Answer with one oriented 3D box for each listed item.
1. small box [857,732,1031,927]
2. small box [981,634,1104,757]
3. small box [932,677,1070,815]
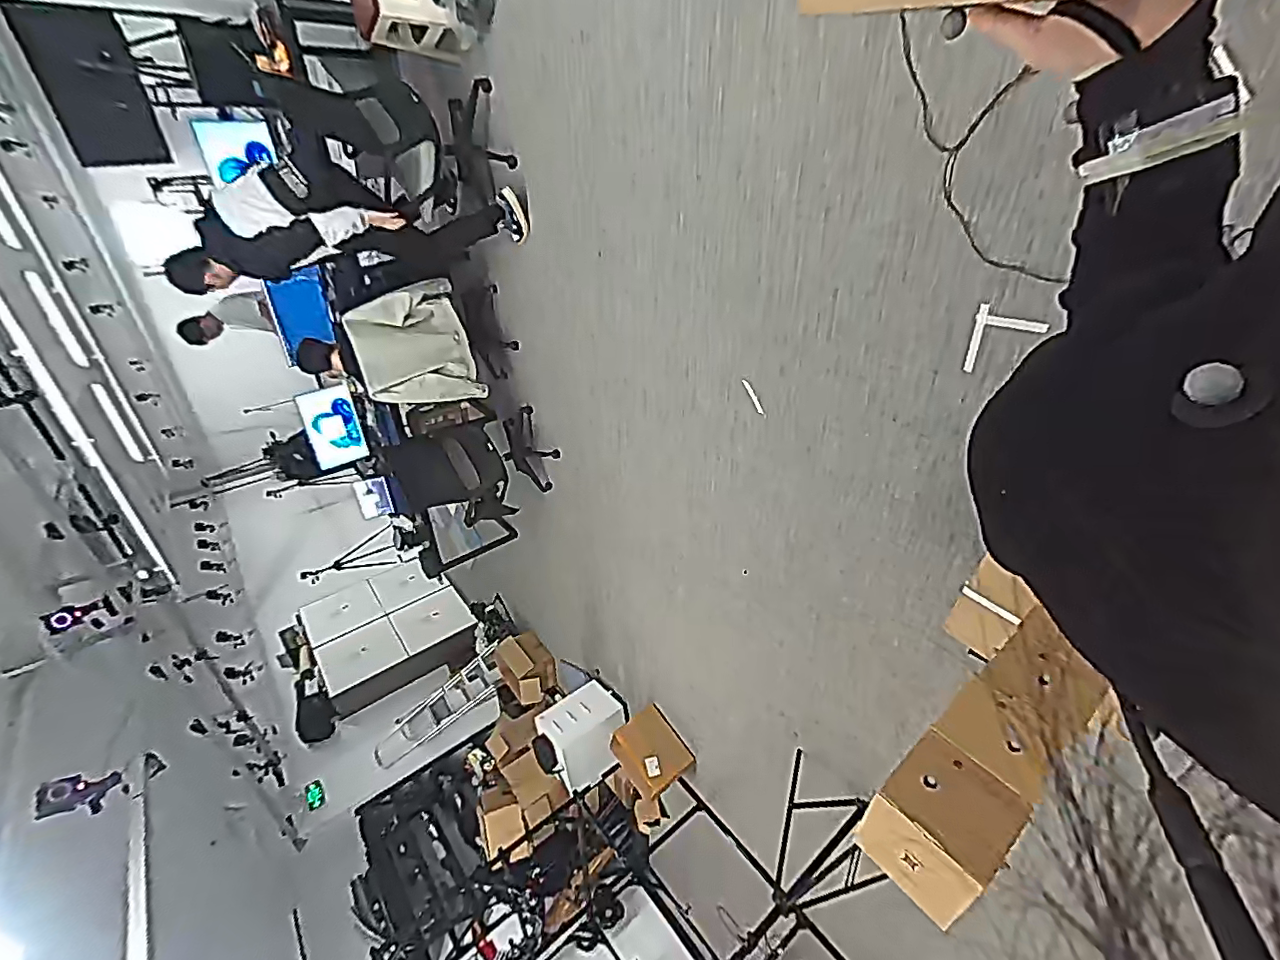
[{"bbox_3d":[0.485,0.548,0.868,0.168,0.176,0.179,36,140,40],"label":"small box"},{"bbox_3d":[0.739,0.432,1.035,0.168,0.176,0.179,38,138,38],"label":"small box"},{"bbox_3d":[0.611,0.486,0.950,0.168,0.176,0.179,35,138,39],"label":"small box"}]
